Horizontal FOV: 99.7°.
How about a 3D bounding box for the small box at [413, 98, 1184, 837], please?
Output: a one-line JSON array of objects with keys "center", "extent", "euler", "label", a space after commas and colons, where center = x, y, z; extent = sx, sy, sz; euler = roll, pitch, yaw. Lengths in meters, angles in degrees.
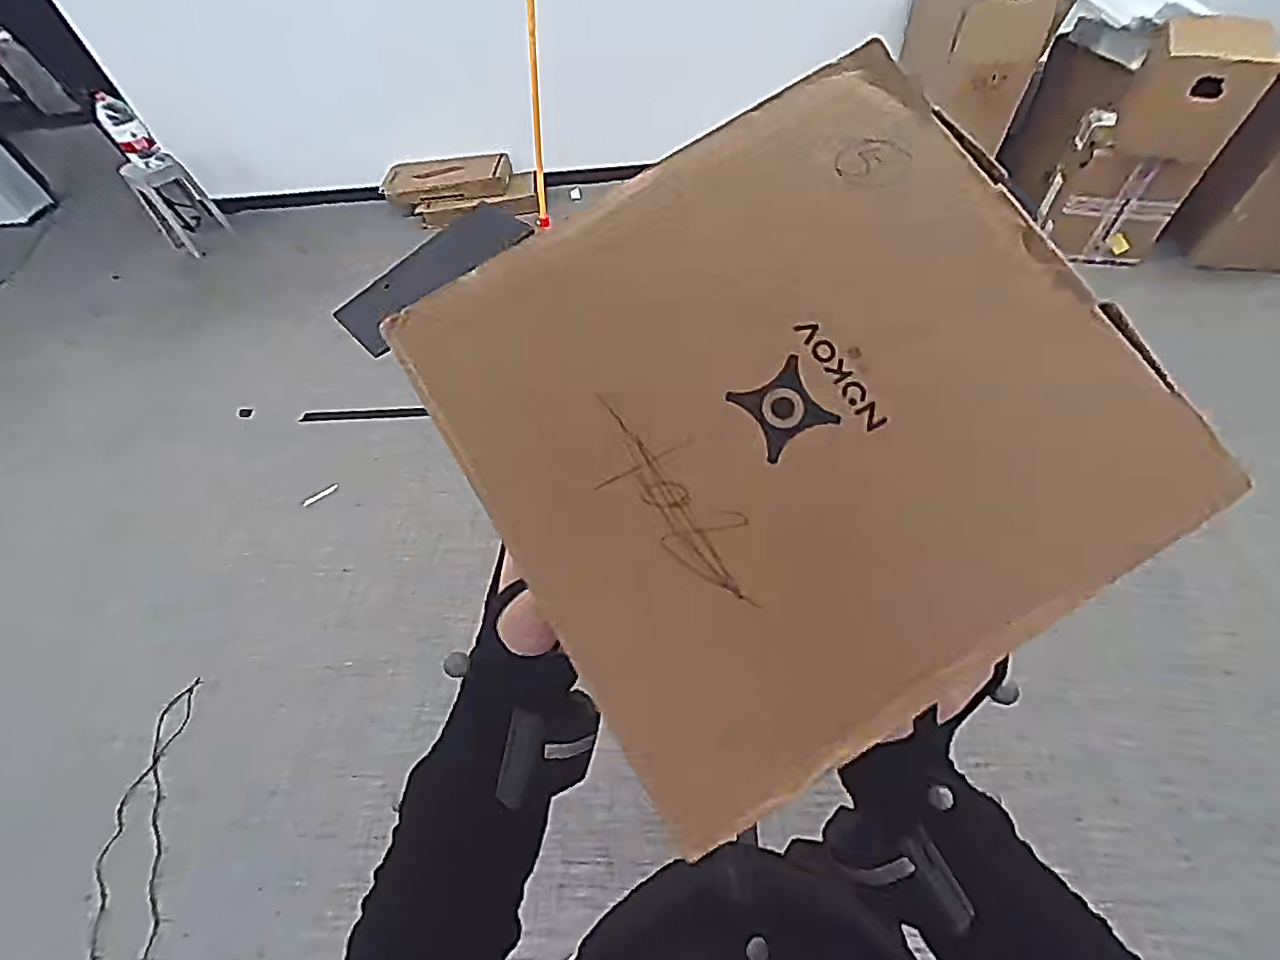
[{"center": [0.045, -0.002, 0.240], "extent": [0.179, 0.176, 0.168], "euler": [-33, 80, -3], "label": "small box"}]
